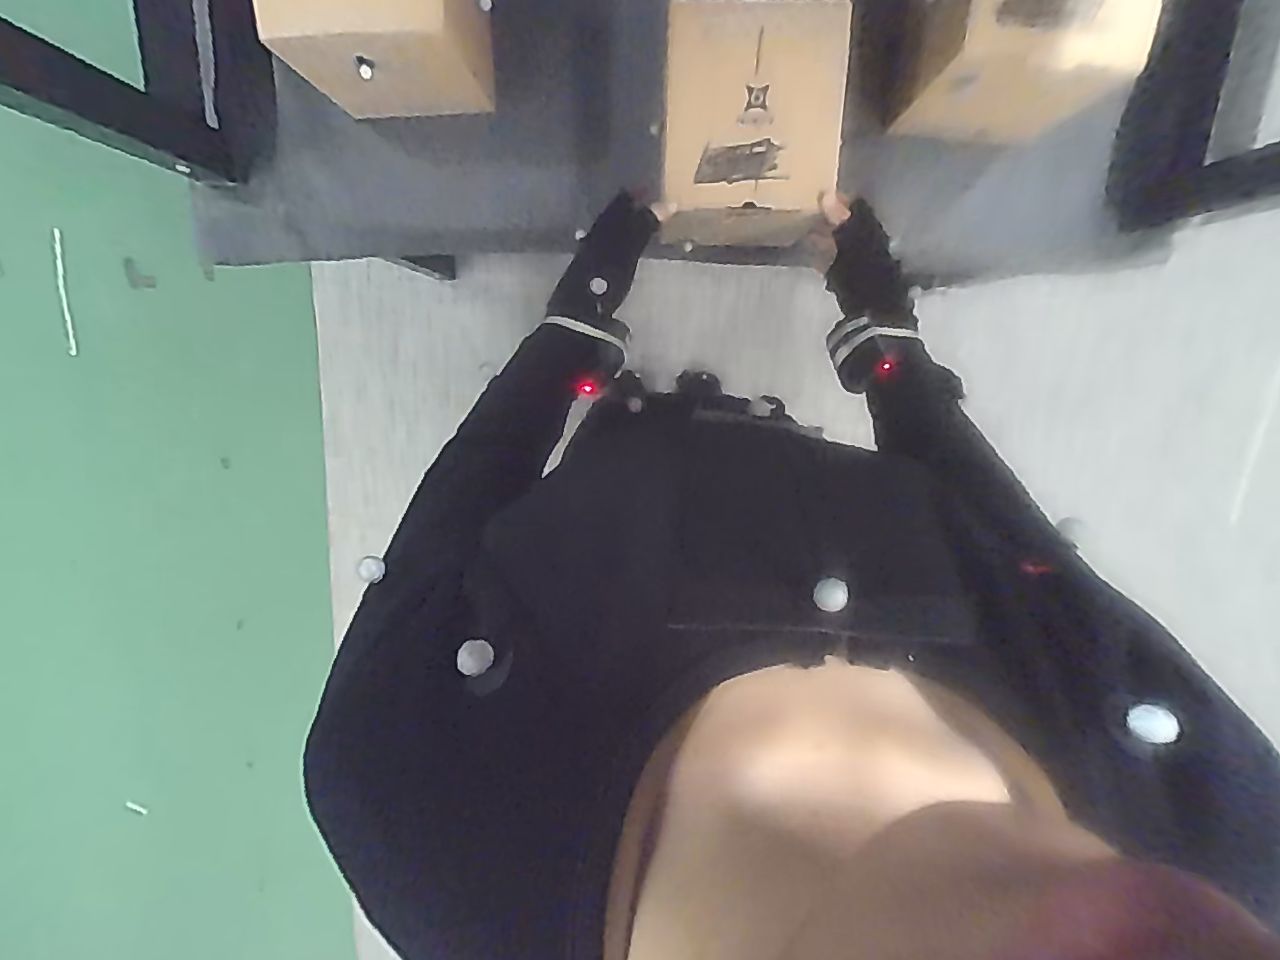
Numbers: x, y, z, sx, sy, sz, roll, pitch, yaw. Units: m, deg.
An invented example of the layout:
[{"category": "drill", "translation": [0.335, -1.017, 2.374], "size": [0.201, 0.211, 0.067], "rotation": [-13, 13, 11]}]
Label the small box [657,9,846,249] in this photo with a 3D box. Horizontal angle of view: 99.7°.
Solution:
[{"category": "small box", "translation": [0.104, -0.357, 0.585], "size": [0.168, 0.176, 0.179], "rotation": [2, 102, 0]}]

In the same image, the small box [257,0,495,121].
[{"category": "small box", "translation": [-0.264, -0.499, 0.562], "size": [0.179, 0.176, 0.168], "rotation": [-1, 103, 1]}]
